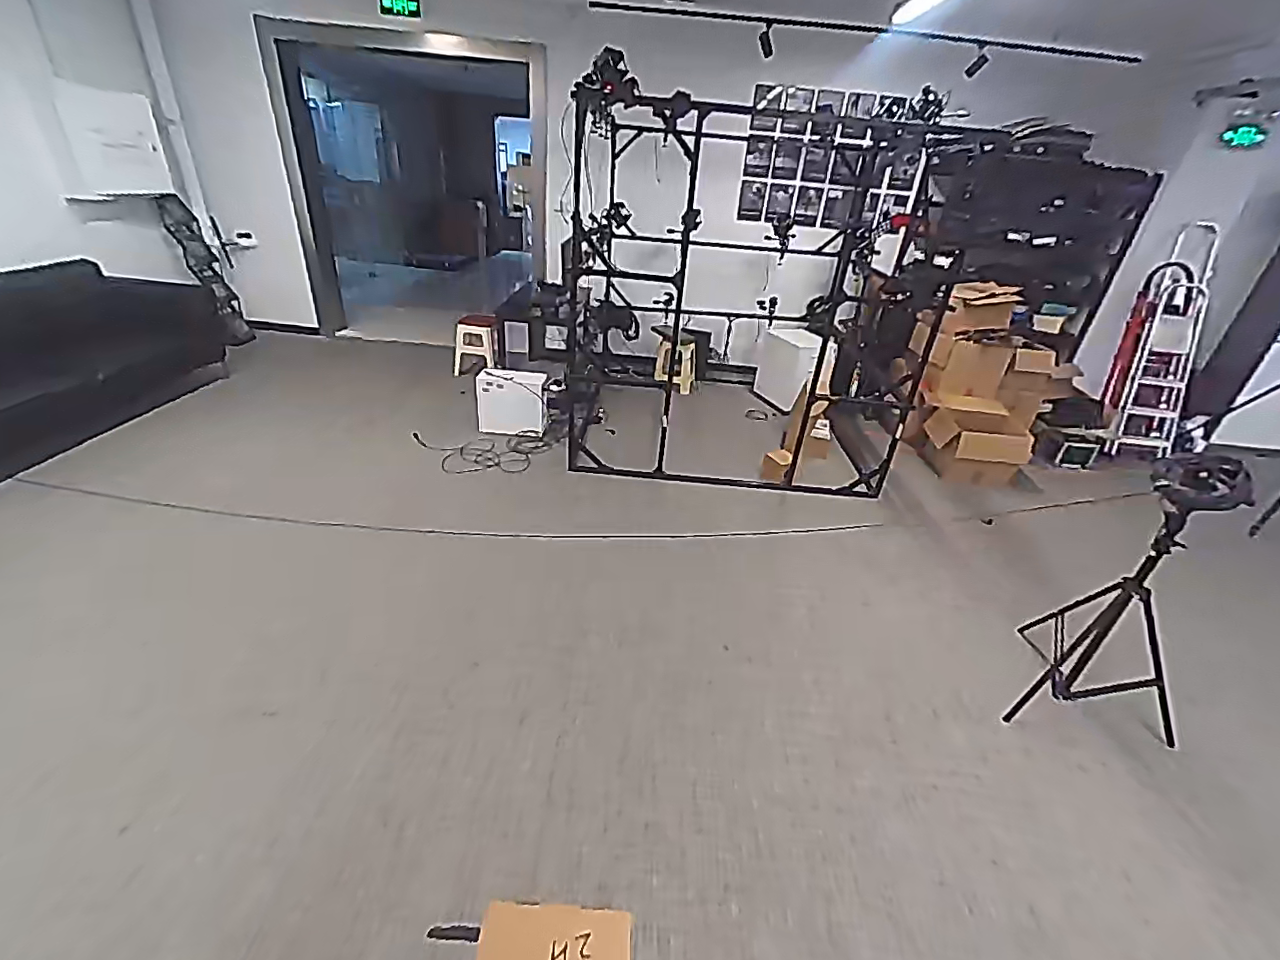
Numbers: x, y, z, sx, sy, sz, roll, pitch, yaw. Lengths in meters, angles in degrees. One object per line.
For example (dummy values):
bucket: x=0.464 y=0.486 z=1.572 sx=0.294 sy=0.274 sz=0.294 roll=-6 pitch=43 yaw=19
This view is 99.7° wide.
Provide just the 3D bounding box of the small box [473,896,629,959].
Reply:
small box: x=-0.108 y=0.591 z=0.583 sx=0.168 sy=0.176 sz=0.179 roll=10 pitch=32 yaw=-6
